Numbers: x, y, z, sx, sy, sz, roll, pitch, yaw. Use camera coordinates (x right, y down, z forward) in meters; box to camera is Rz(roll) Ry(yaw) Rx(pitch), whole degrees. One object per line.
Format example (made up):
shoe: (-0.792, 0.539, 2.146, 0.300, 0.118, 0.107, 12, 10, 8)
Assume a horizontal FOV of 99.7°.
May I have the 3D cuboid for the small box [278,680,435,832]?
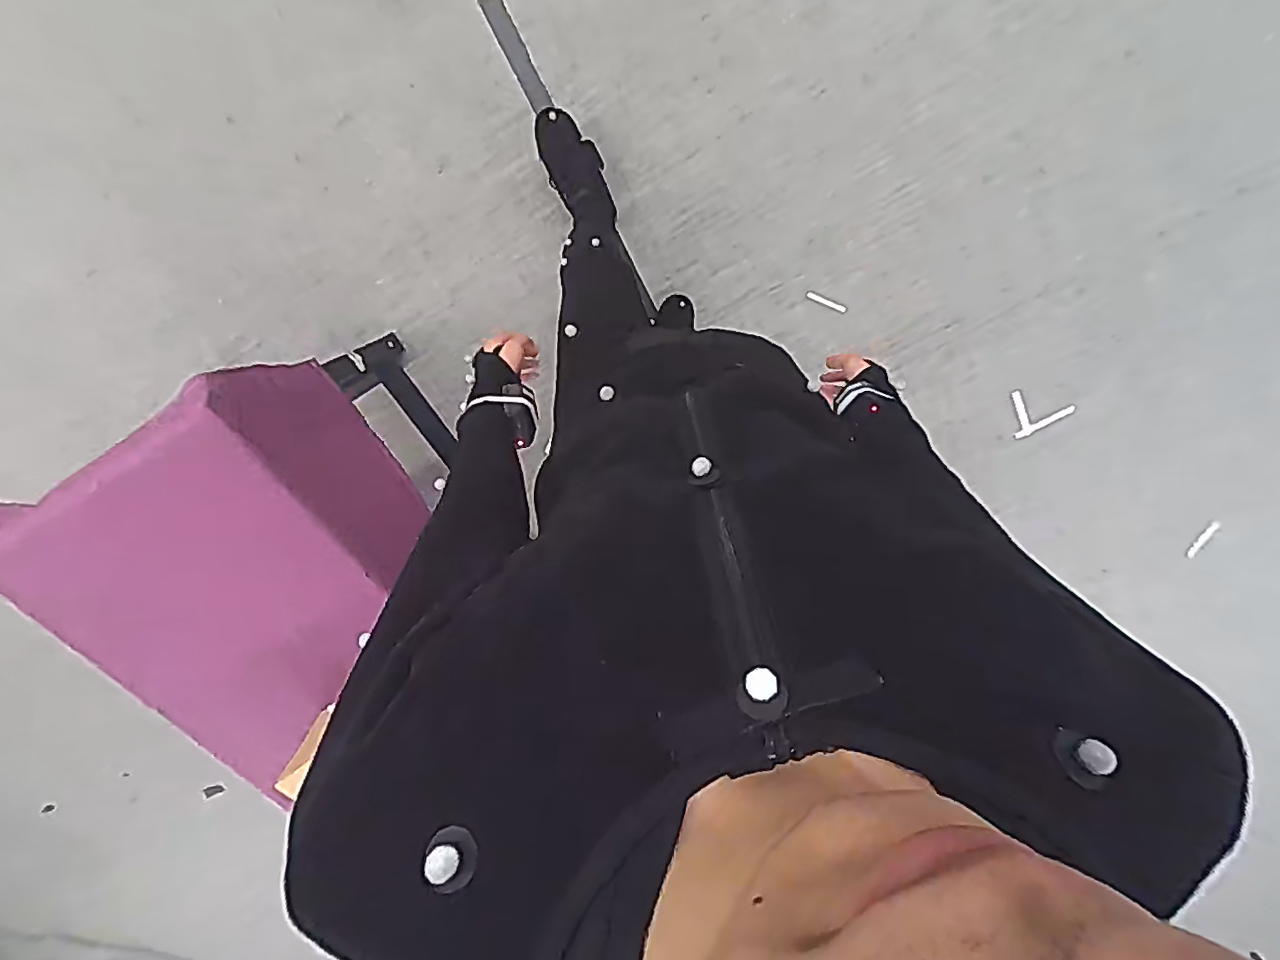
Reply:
small box: (-0.531, 0.527, 1.043, 0.168, 0.176, 0.179, -37, 110, 15)
